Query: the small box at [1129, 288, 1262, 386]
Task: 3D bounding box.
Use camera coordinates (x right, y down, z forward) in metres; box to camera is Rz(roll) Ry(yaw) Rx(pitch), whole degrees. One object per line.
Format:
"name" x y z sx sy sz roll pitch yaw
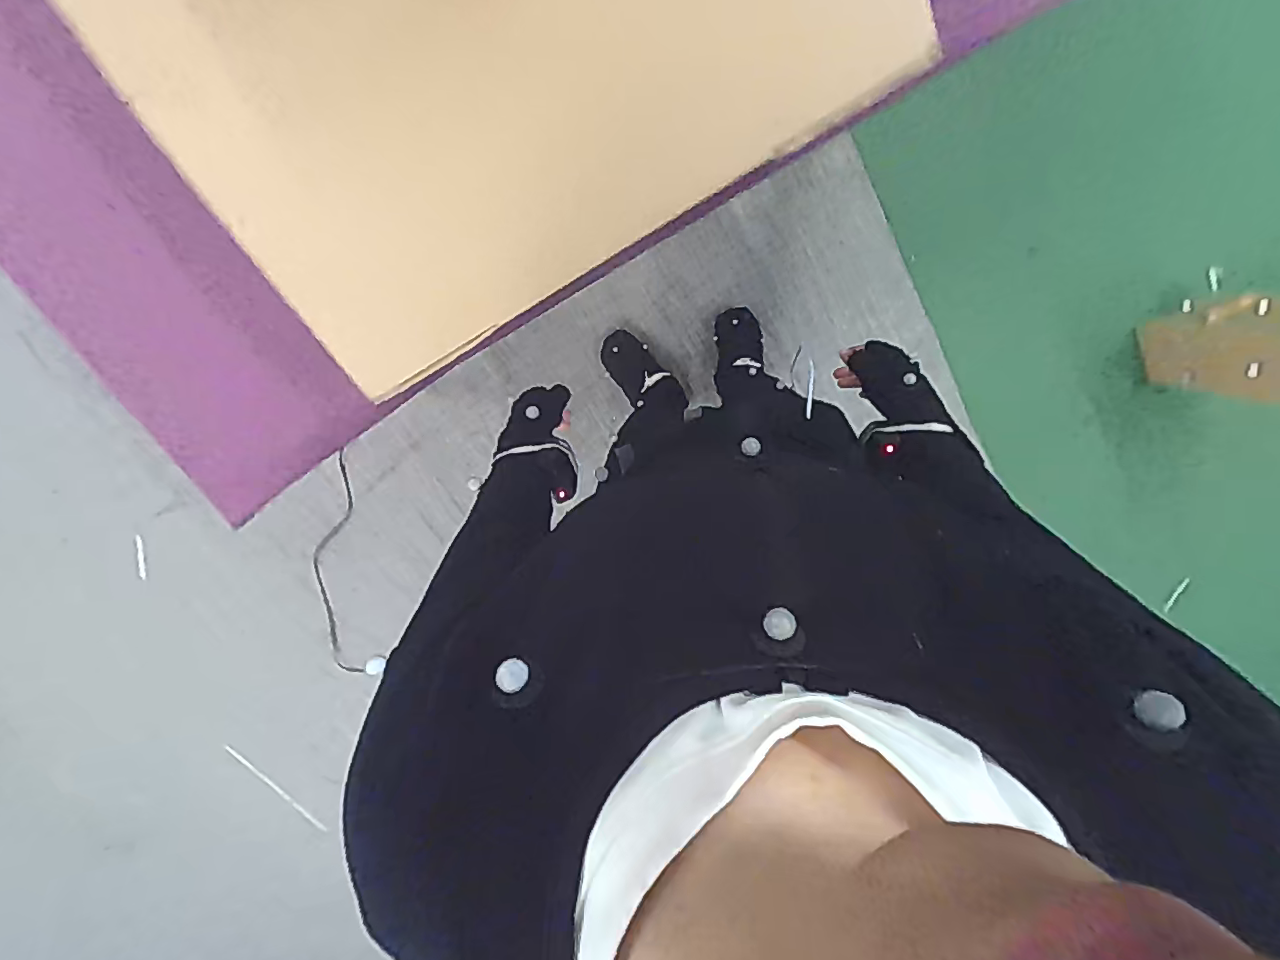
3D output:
"small box" 1.376 -0.359 1.338 0.168 0.176 0.179 -29 108 8

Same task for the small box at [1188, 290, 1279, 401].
"small box" 1.374 -0.301 1.186 0.168 0.176 0.179 -29 107 9
